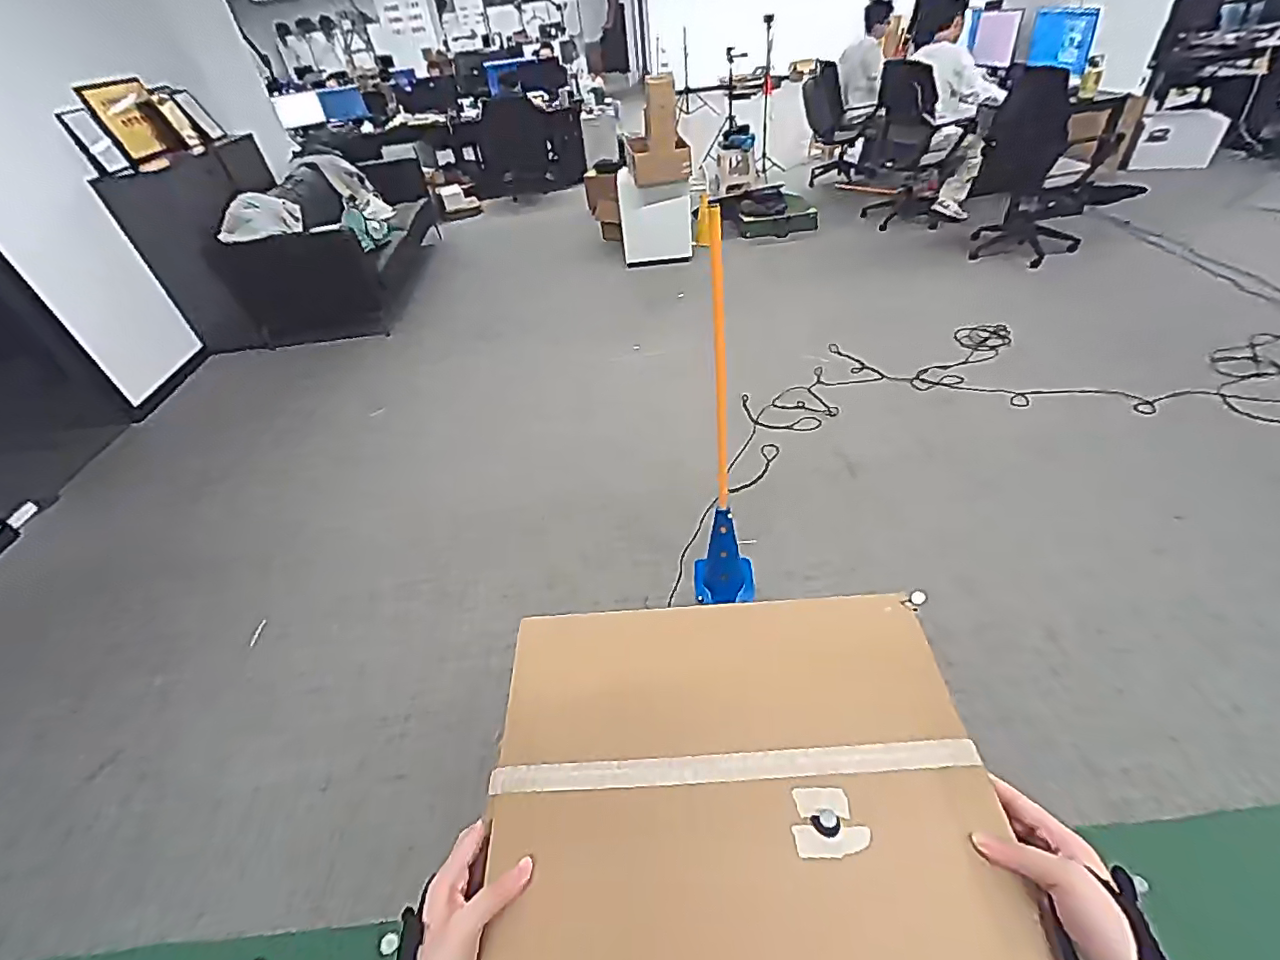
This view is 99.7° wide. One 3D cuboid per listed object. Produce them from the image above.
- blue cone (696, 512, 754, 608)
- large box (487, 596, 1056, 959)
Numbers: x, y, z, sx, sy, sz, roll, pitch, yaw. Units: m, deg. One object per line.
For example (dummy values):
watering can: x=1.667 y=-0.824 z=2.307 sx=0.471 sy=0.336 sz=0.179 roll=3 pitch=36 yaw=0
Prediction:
blue cone: x=0.275 y=0.240 z=1.763 sx=0.193 sy=0.380 sz=0.192 roll=-2 pitch=42 yaw=8
large box: x=0.089 y=0.351 z=0.573 sx=0.408 sy=0.320 sz=0.320 roll=-4 pitch=46 yaw=1
